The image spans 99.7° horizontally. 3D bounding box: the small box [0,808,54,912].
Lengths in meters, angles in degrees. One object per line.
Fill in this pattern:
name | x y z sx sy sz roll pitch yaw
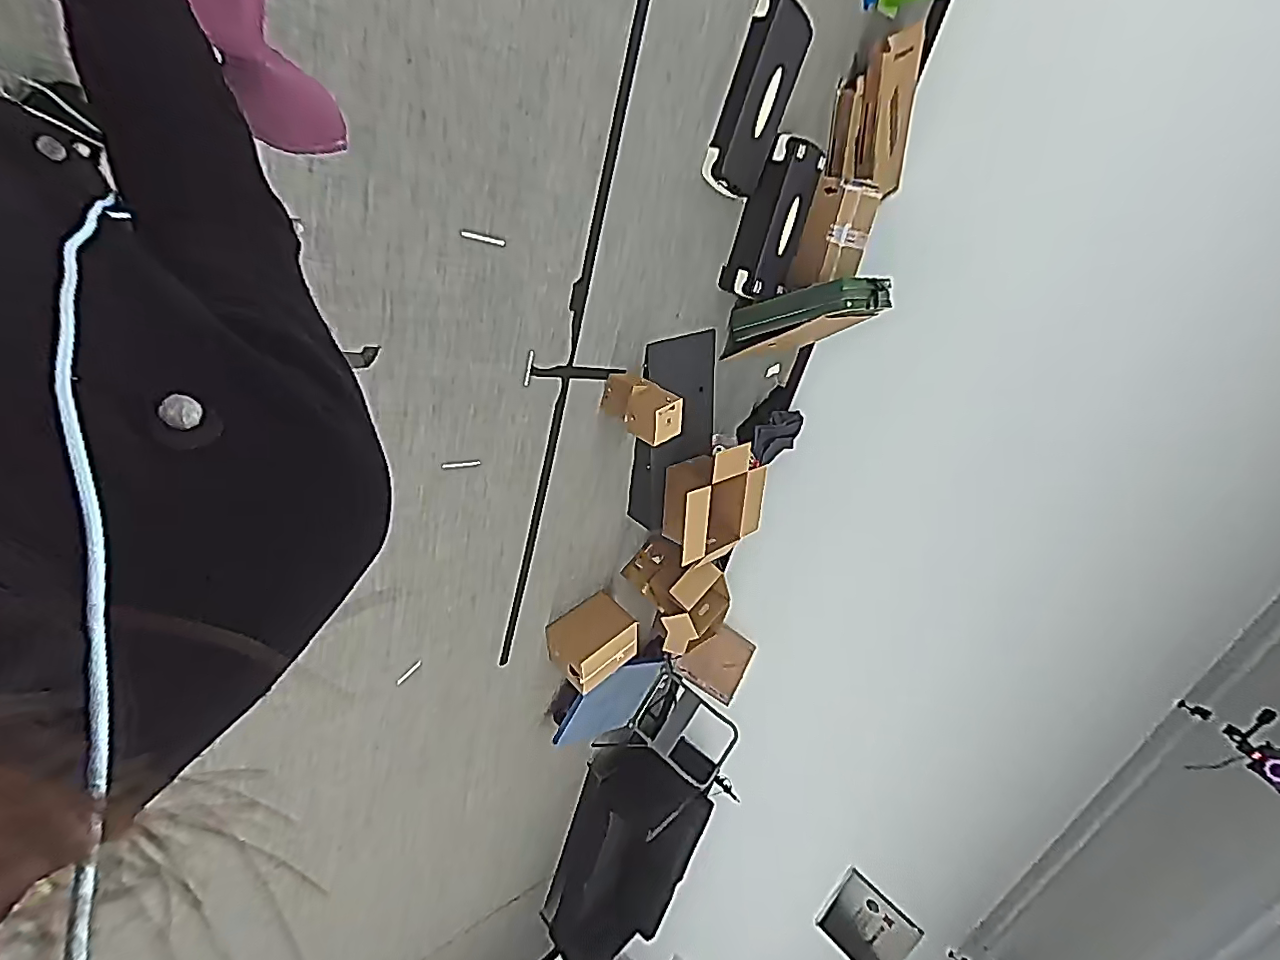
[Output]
small box | -1.753 1.058 1.487 0.179 0.176 0.168 -2 118 -52
